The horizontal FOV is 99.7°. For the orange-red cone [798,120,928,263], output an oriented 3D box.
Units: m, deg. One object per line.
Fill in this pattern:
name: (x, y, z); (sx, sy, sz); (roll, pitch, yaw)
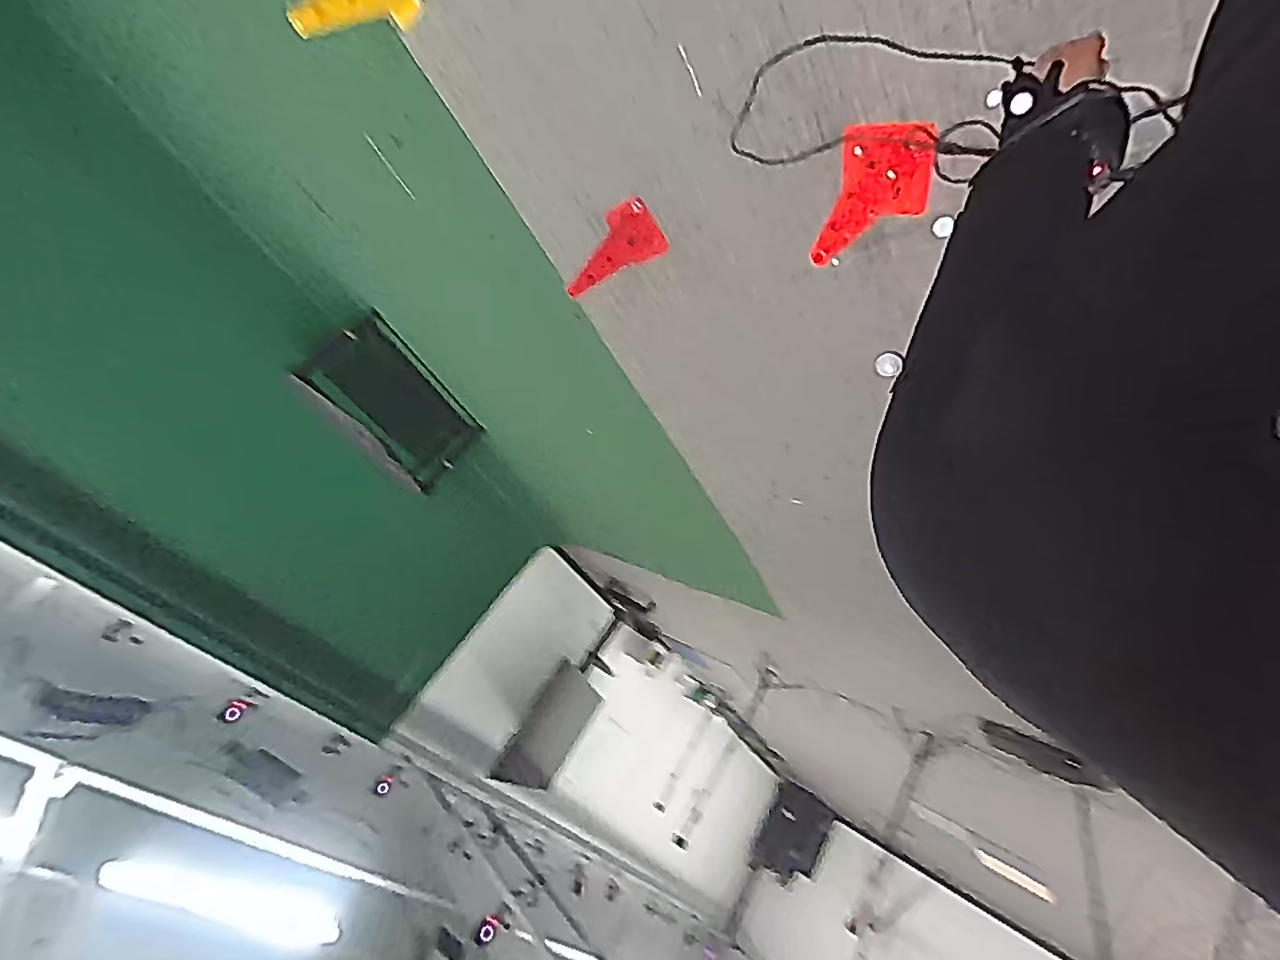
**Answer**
orange-red cone: (0.445, -0.585, 1.170); (0.198, 0.360, 0.199); (25, 155, 32)

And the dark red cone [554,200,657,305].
dark red cone: (-0.140, -0.707, 1.755); (0.202, 0.394, 0.201); (50, 157, -26)
